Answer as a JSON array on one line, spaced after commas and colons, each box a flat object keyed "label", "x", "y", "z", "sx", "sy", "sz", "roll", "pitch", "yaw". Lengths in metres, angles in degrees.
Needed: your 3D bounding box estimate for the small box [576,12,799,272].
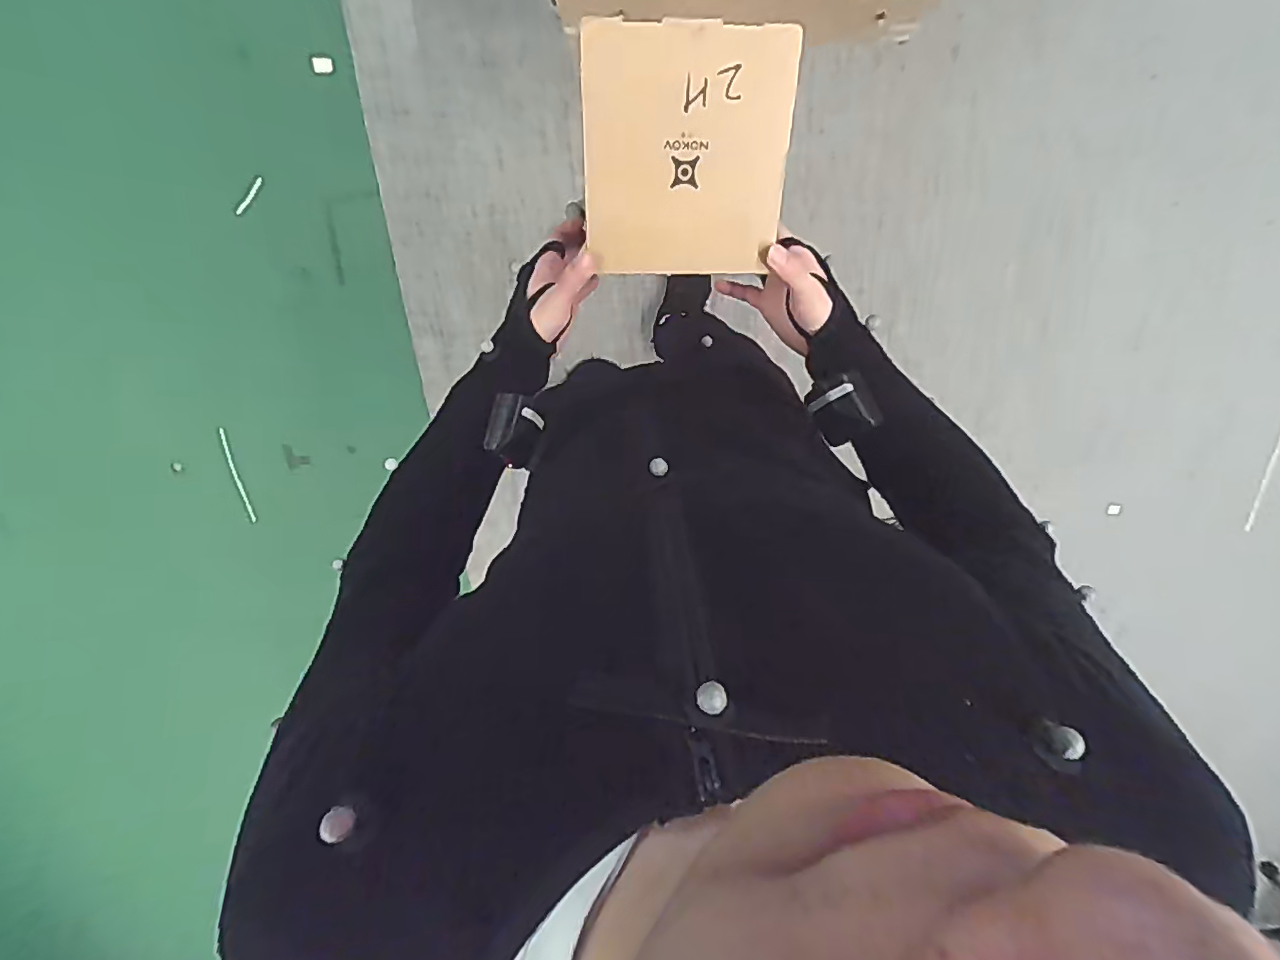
[{"label": "small box", "x": 0.029, "y": -0.300, "z": 0.501, "sx": 0.168, "sy": 0.176, "sz": 0.179, "roll": -2, "pitch": 120, "yaw": -4}]
